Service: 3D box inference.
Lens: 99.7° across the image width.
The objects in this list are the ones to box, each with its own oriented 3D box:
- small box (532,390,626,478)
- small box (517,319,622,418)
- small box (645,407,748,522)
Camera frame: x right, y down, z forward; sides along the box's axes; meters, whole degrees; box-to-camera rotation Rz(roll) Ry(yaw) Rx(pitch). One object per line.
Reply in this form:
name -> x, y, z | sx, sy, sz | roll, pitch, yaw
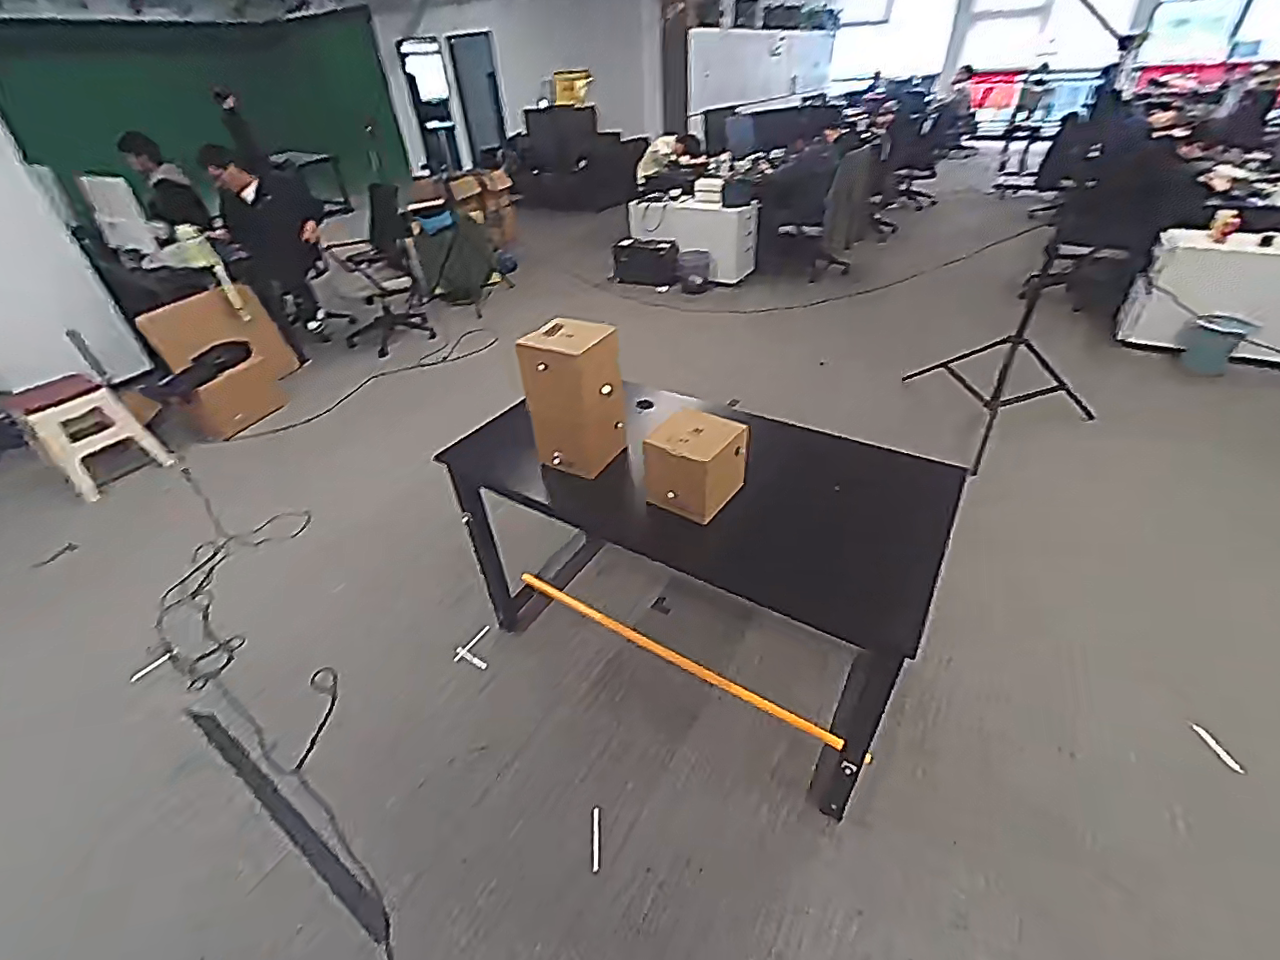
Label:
small box -> -0.147, -0.132, 1.372 | 0.168, 0.176, 0.179 | 16, 42, 25
small box -> -0.159, -0.262, 1.271 | 0.179, 0.176, 0.168 | 16, 42, 24
small box -> 0.126, -0.038, 1.223 | 0.168, 0.176, 0.179 | 22, 44, 30
